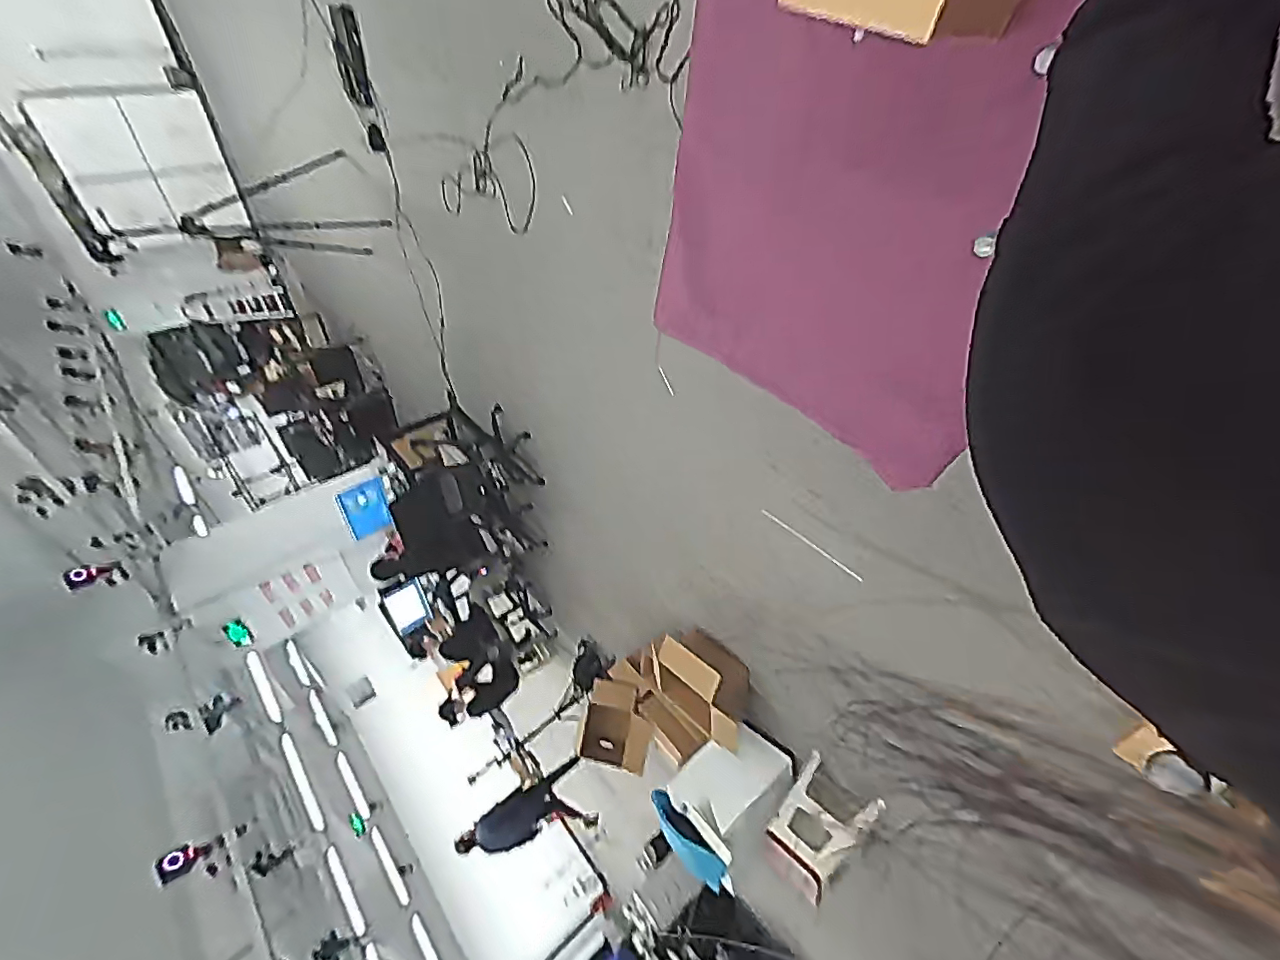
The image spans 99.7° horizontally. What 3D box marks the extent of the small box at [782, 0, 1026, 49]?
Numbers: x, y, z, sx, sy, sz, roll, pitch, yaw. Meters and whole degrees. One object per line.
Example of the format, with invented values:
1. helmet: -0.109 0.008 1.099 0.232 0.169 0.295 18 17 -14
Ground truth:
1. small box: 0.270 -0.521 0.499 0.179 0.176 0.168 42 146 27

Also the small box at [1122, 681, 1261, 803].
1. small box: 1.341 0.631 1.315 0.168 0.176 0.179 37 143 33

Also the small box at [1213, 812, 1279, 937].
1. small box: 1.367 0.832 1.123 0.168 0.176 0.179 38 144 32
